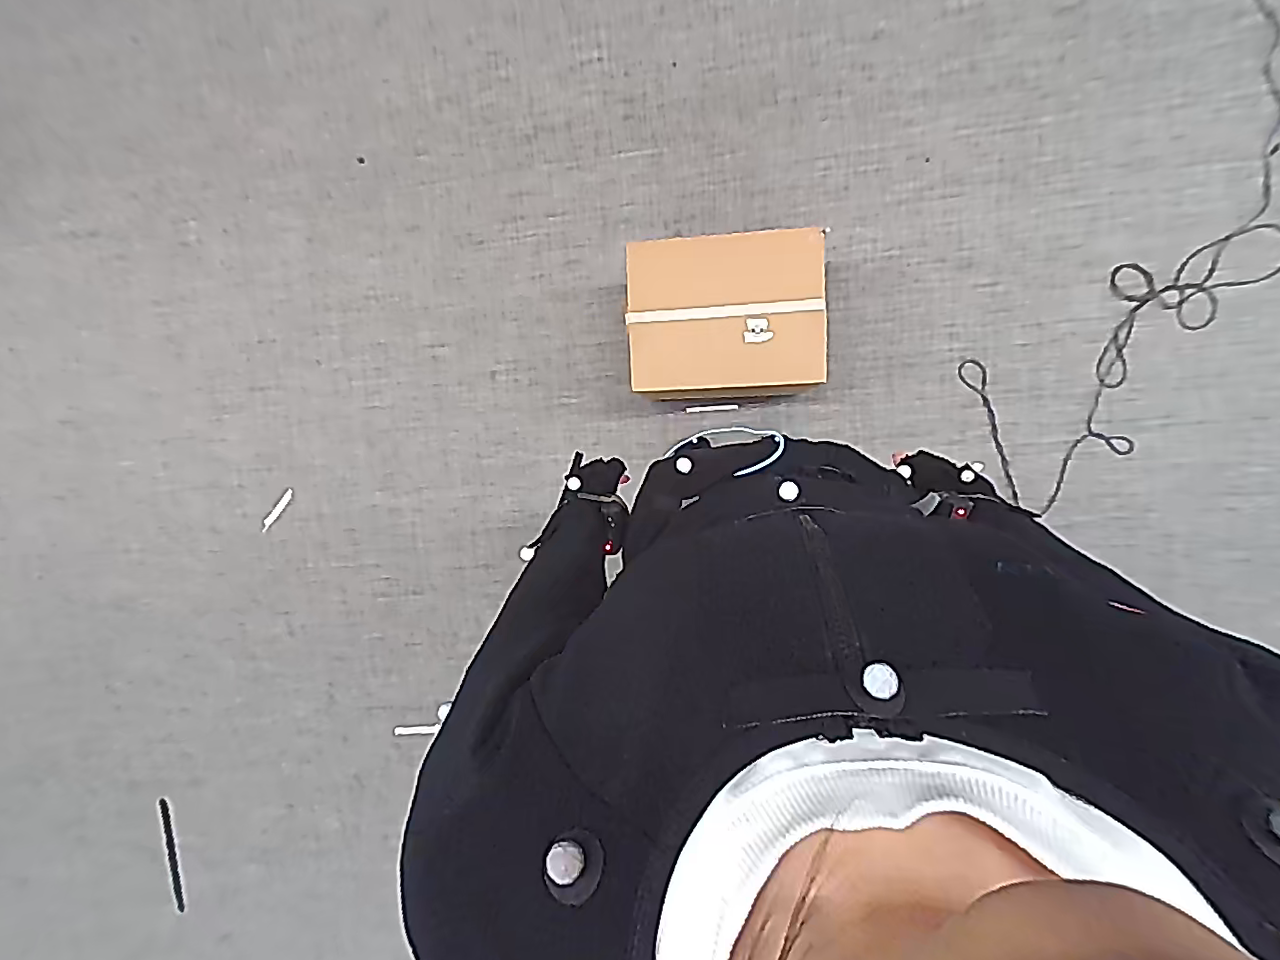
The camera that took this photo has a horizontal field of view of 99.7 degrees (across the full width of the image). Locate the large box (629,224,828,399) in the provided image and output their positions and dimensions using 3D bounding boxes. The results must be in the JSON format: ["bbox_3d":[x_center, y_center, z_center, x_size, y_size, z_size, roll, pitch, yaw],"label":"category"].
[{"bbox_3d":[0.197,-0.366,1.268,0.408,0.320,0.320,-2,95,7],"label":"large box"}]
